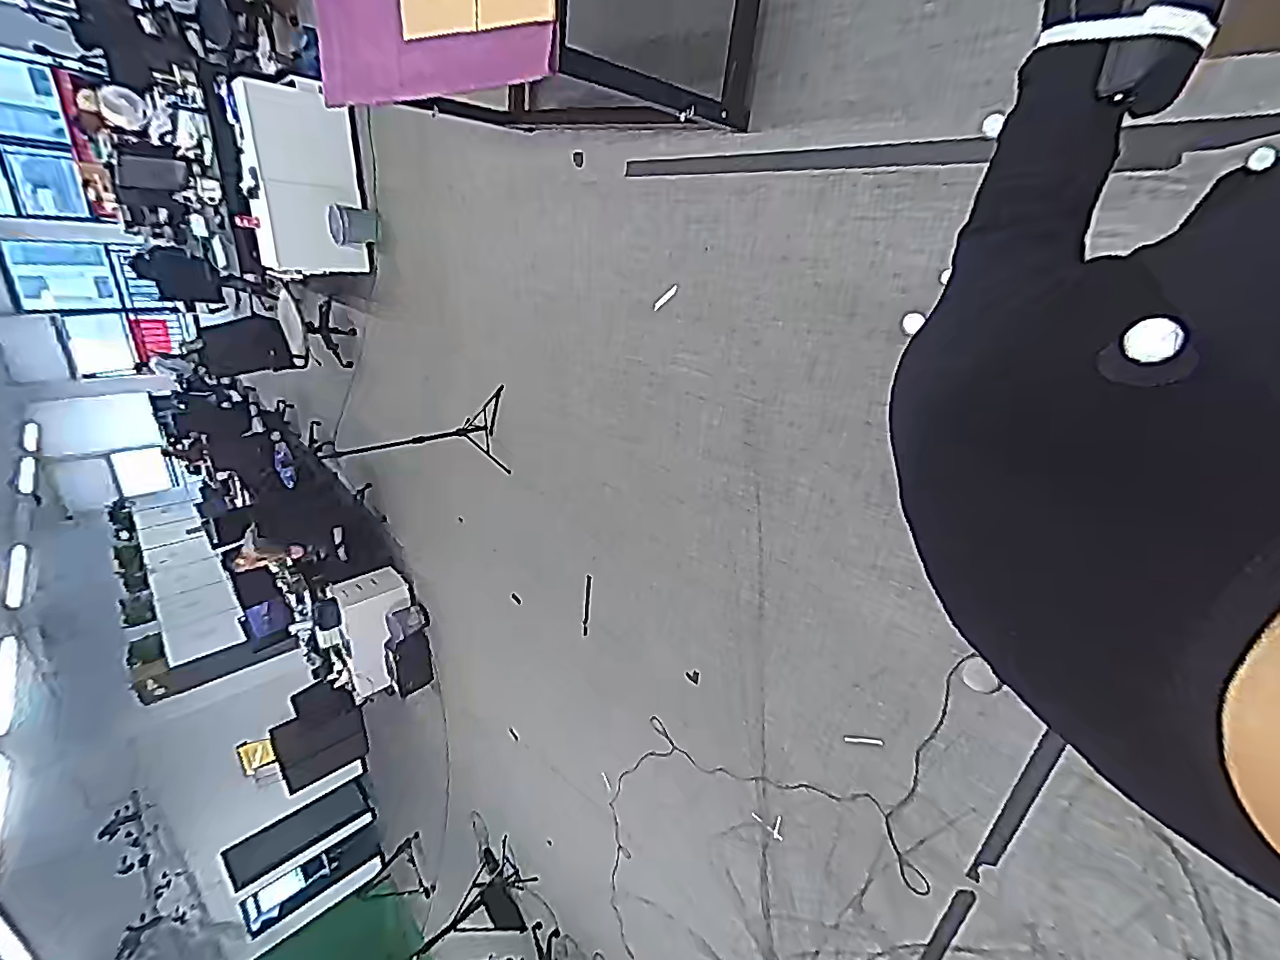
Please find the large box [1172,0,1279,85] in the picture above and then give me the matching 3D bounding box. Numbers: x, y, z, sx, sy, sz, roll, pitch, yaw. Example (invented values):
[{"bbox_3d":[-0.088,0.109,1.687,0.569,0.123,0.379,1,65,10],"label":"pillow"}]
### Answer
[{"bbox_3d":[0.574,-0.420,0.250,0.408,0.320,0.320,24,124,36],"label":"large box"}]
